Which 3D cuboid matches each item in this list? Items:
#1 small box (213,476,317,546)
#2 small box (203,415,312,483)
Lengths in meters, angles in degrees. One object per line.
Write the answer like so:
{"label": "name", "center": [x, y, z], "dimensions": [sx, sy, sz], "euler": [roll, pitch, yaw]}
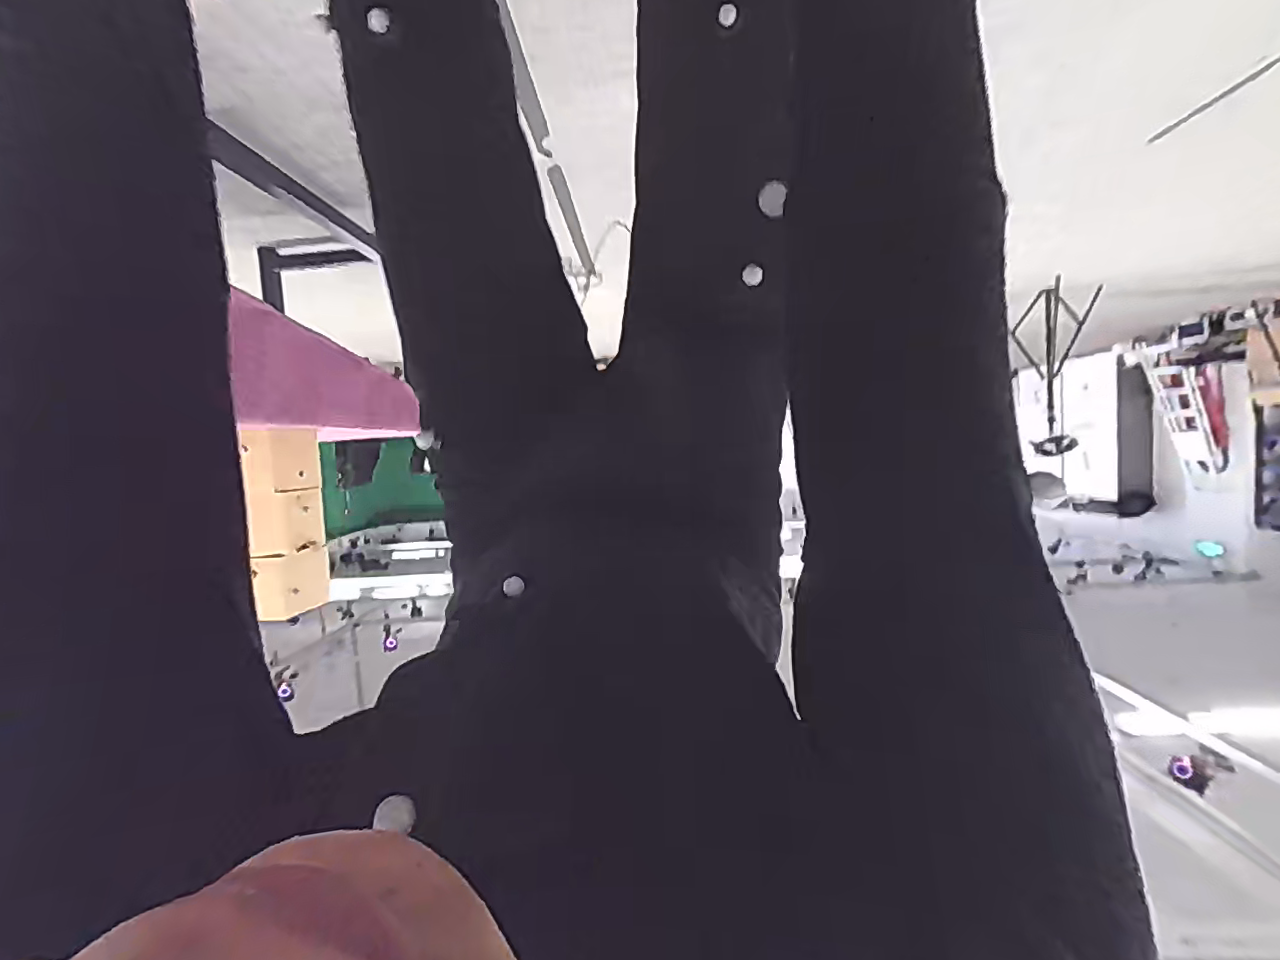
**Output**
{"label": "small box", "center": [-1.011, 0.078, 1.462], "dimensions": [0.179, 0.176, 0.168], "euler": [-3, -175, 0]}
{"label": "small box", "center": [-1.017, -0.086, 1.448], "dimensions": [0.168, 0.176, 0.179], "euler": [-3, -176, 6]}
